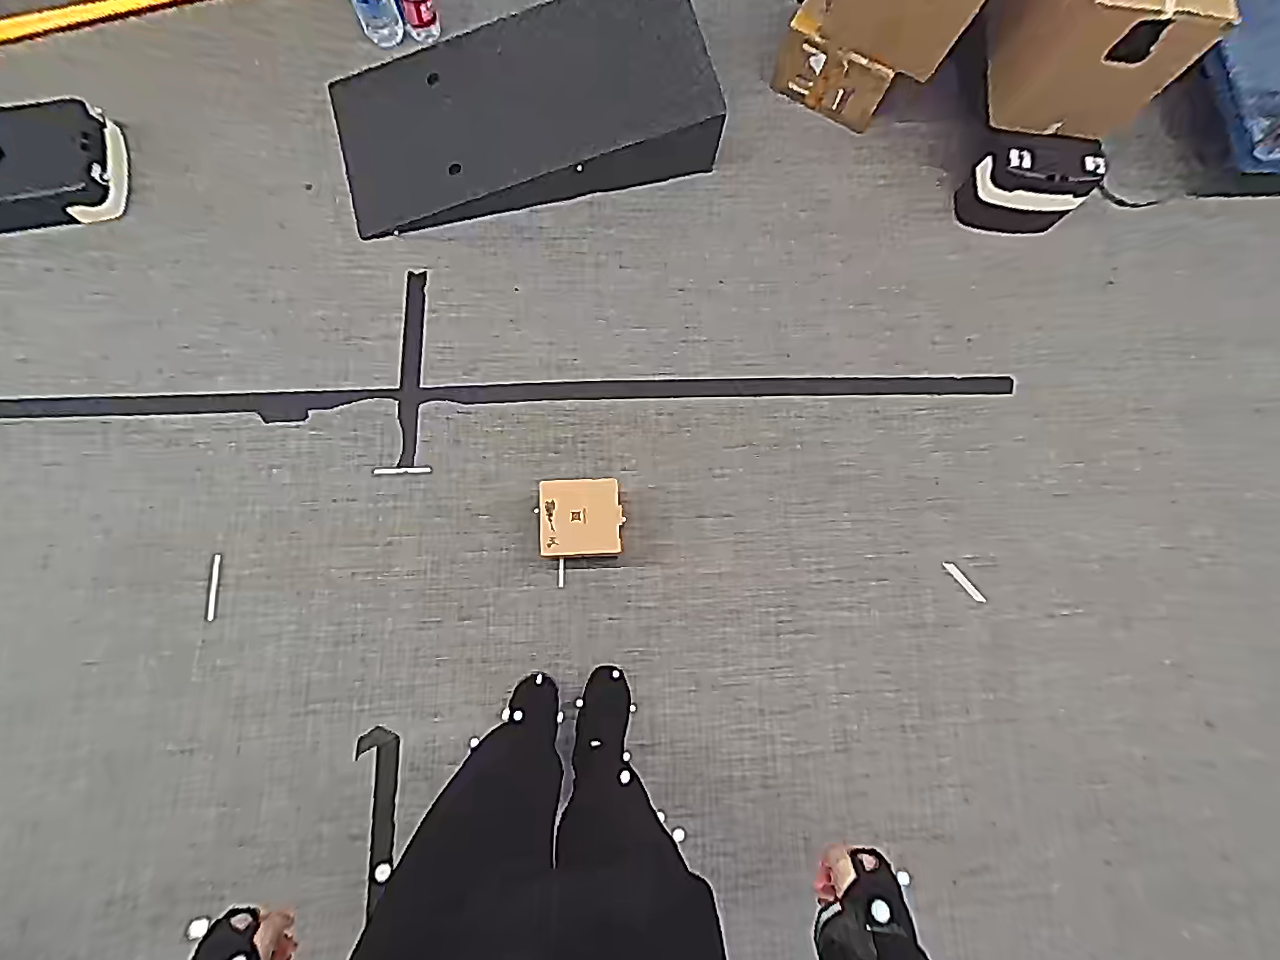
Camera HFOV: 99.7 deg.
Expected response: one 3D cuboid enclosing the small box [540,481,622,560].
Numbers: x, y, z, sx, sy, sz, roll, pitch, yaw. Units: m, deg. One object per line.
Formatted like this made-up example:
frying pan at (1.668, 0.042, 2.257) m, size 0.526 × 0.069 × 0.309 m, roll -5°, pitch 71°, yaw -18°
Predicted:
small box at (-0.135, 0.096, 1.244) m, size 0.179 × 0.176 × 0.168 m, roll -1°, pitch 79°, yaw -5°
